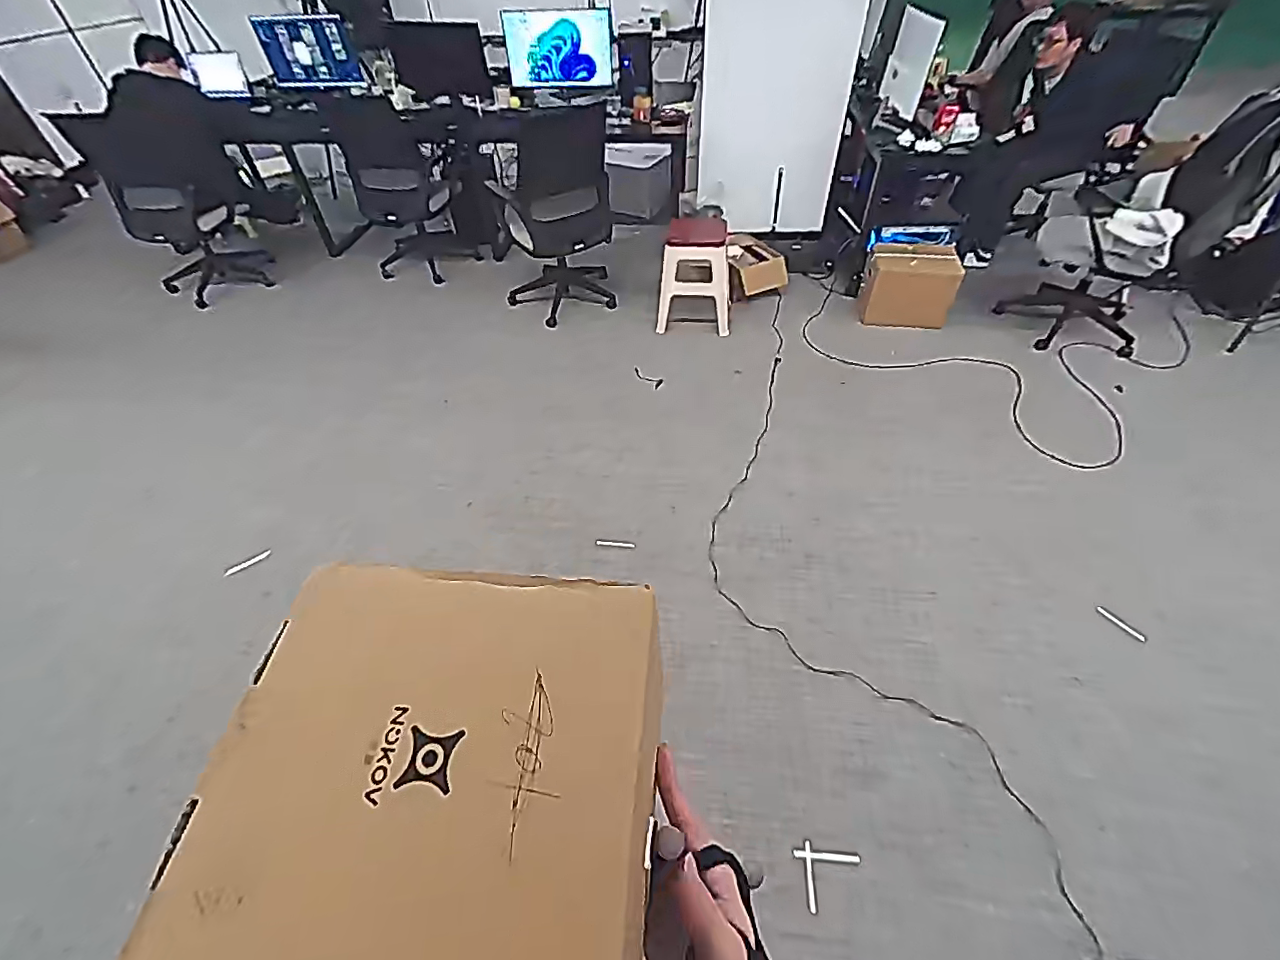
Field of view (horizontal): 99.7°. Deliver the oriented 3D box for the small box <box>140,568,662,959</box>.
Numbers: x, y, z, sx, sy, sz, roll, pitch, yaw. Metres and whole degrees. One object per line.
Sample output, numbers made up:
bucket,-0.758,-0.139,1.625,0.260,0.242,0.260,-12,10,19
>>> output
small box,-0.083,0.163,0.295,0.179,0.176,0.168,3,54,6
